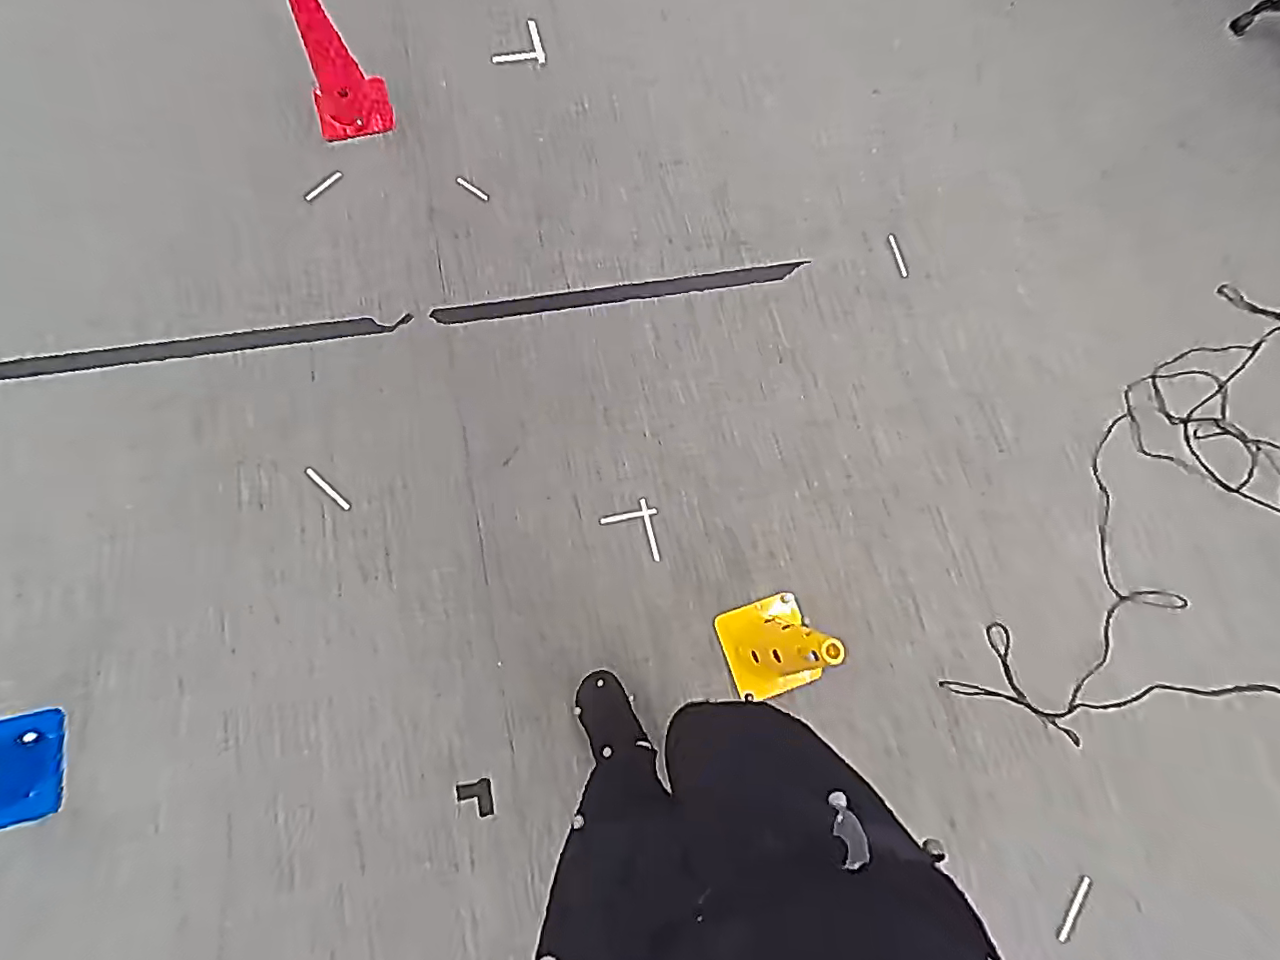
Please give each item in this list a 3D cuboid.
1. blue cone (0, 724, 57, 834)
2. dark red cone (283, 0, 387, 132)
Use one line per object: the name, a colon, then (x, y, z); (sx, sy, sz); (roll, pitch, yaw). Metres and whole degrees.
blue cone: (-1.220, 0.542, 0.886); (0.193, 0.380, 0.192); (-10, 76, -7)
dark red cone: (-0.812, -1.105, 1.357); (0.202, 0.394, 0.201); (-18, 77, -9)
